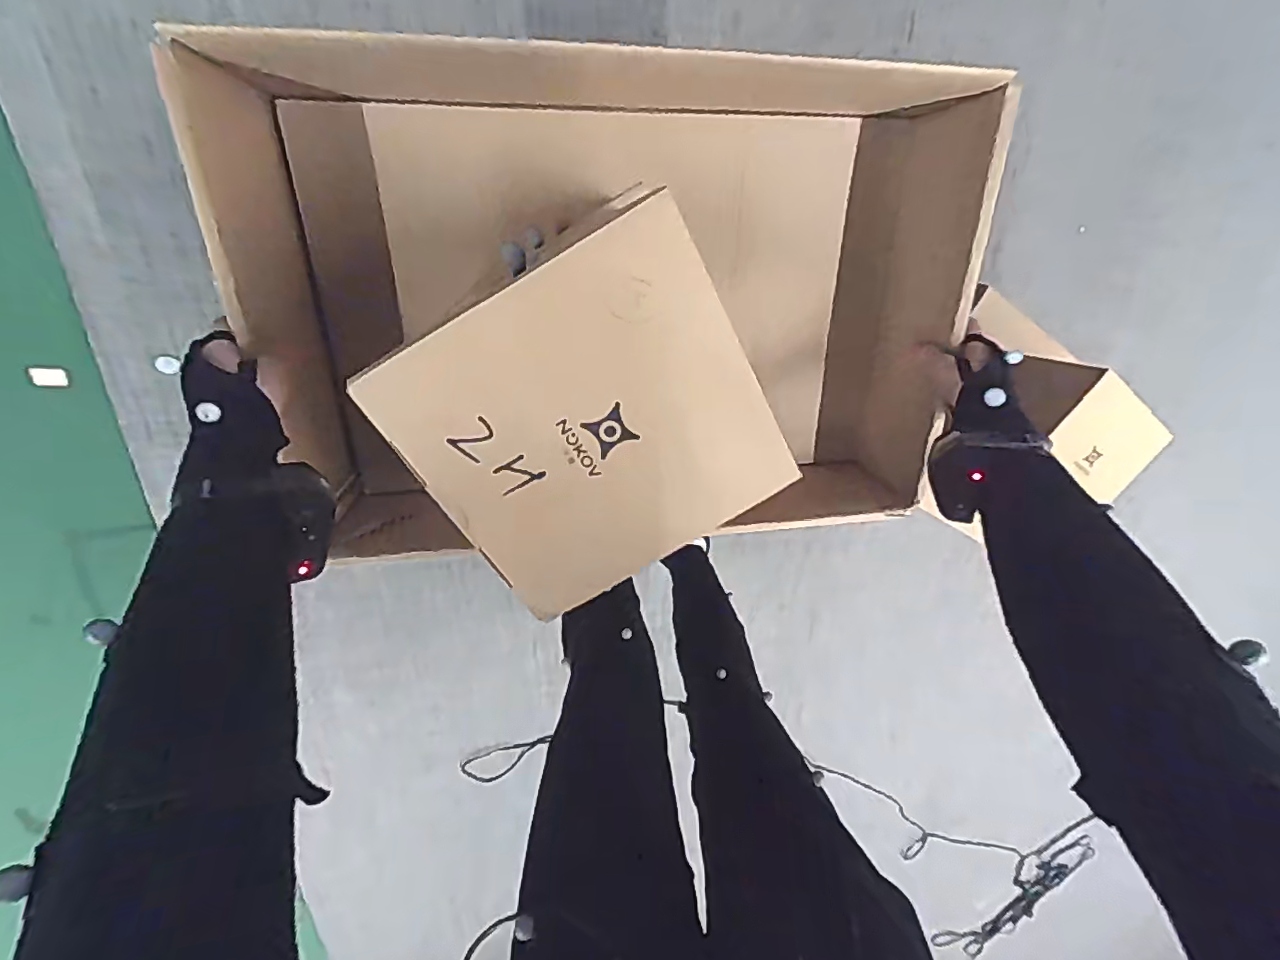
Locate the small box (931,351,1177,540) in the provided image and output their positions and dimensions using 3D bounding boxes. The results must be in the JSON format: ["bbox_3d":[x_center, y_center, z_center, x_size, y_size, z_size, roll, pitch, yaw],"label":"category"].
[{"bbox_3d":[0.551,-0.056,0.744,0.168,0.176,0.179,30,104,-20],"label":"small box"}]

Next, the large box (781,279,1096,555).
[{"bbox_3d":[0.544,-0.124,0.982,0.408,0.320,0.320,25,107,-20],"label":"large box"}]

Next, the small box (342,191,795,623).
[{"bbox_3d":[-0.037,-0.053,0.343,0.179,0.176,0.168,-30,113,5],"label":"small box"}]
